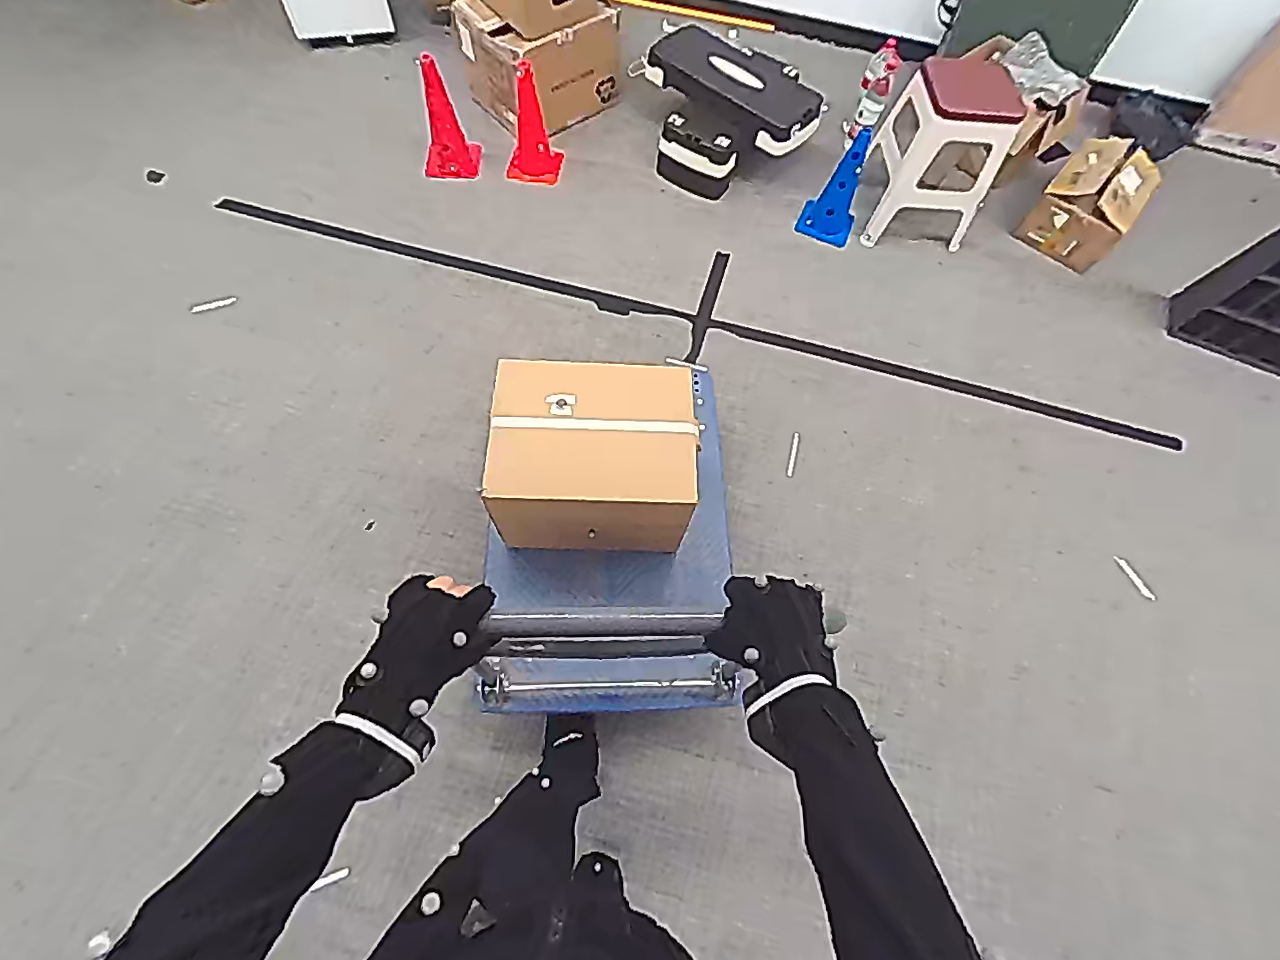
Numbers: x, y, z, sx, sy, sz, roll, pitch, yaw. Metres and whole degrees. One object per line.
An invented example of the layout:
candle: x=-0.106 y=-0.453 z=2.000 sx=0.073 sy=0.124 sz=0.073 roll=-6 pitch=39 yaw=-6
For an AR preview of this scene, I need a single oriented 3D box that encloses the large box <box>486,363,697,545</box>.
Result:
large box: x=-0.096 y=-0.042 z=1.211 sx=0.408 sy=0.320 sz=0.320 roll=2 pitch=66 yaw=-3
